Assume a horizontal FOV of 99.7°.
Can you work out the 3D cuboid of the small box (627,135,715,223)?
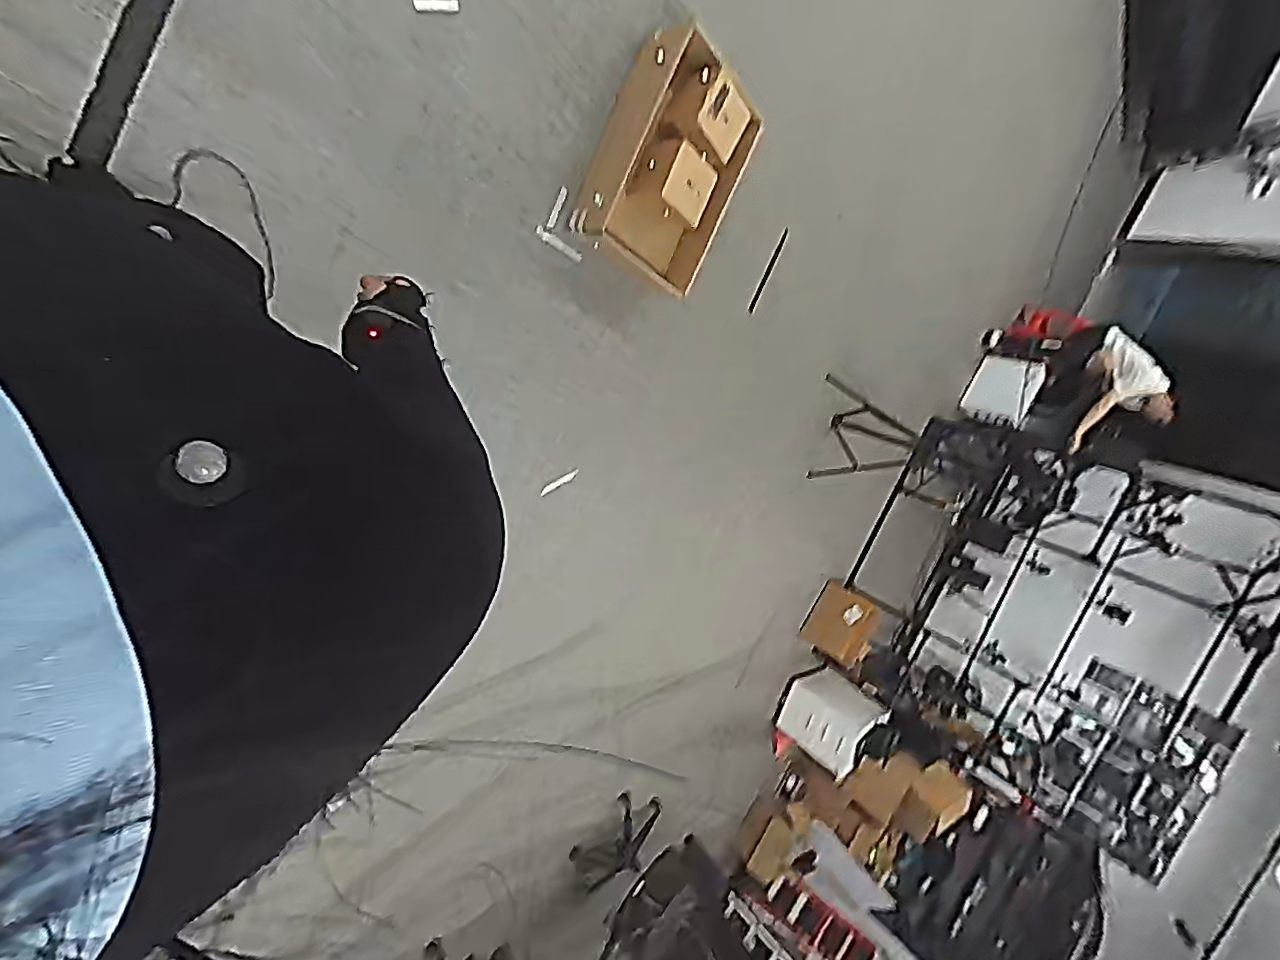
[{"bbox_3d":[0.090,-0.905,1.642,0.179,0.176,0.168,18,98,-47],"label":"small box"}]
